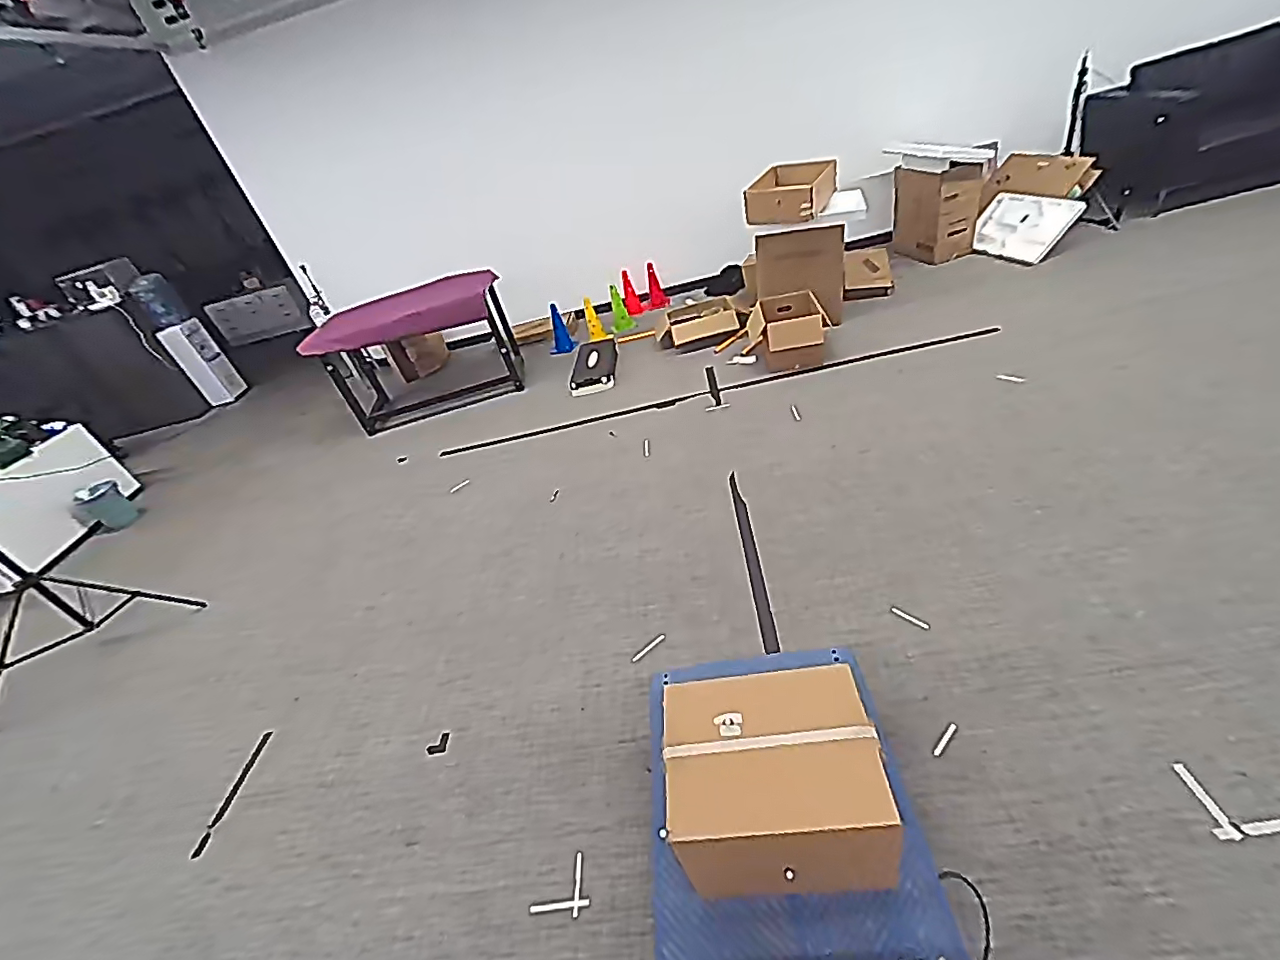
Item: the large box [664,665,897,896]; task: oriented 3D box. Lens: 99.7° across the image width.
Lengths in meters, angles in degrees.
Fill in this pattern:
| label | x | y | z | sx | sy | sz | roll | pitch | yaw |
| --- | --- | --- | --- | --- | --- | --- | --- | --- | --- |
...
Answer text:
| label | x | y | z | sx | sy | sz | roll | pitch | yaw |
| --- | --- | --- | --- | --- | --- | --- | --- | --- | --- |
| large box | 0.285 | 0.645 | 1.156 | 0.408 | 0.320 | 0.320 | -12 | 35 | 9 |
